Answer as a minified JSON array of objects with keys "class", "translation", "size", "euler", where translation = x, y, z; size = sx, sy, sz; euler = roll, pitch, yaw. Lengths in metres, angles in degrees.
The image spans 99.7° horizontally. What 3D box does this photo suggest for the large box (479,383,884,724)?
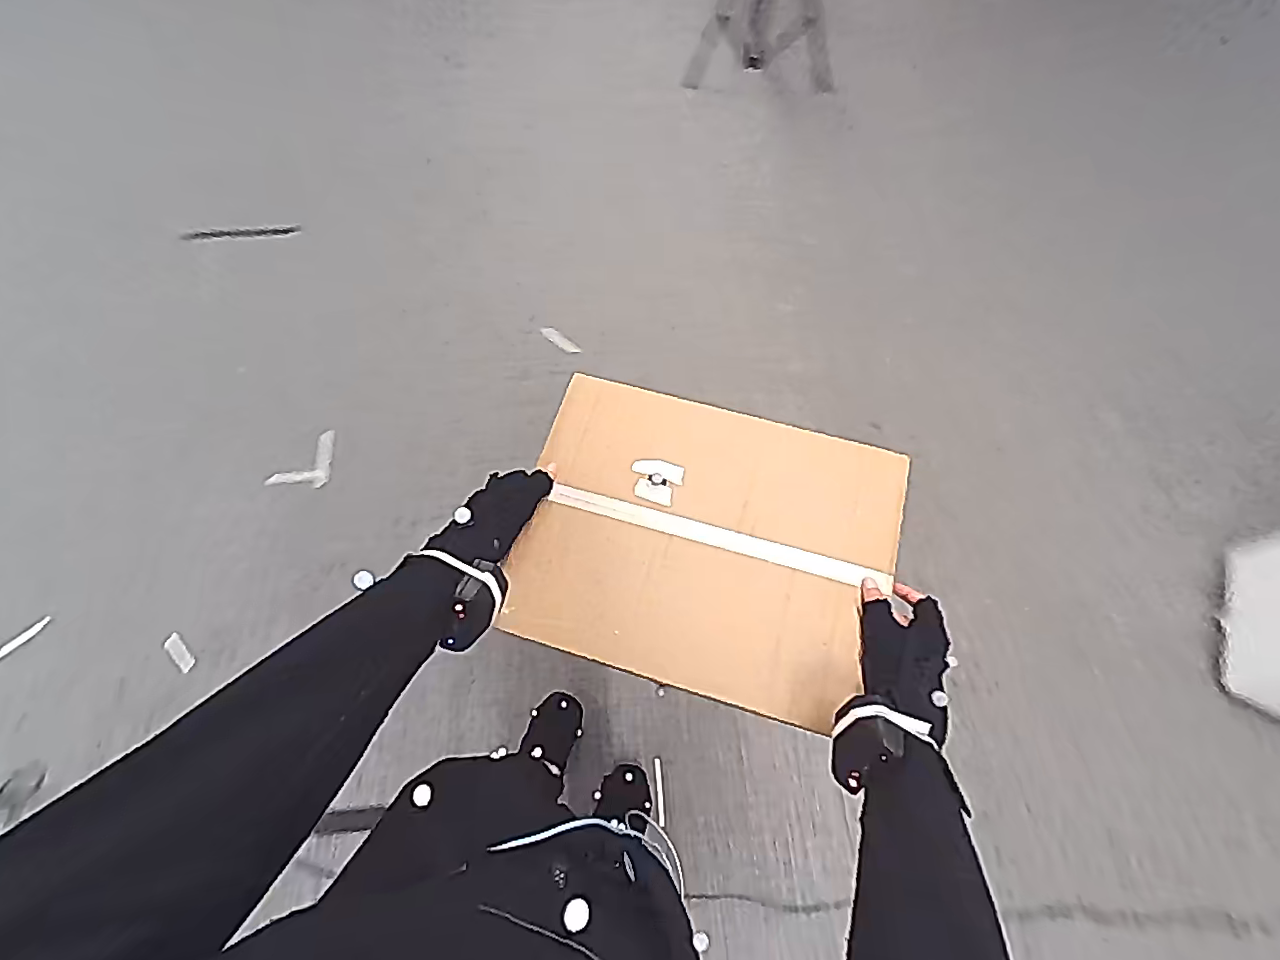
[{"class":"large box","translation":[0.063,0.109,0.741],"size":[0.408,0.320,0.320],"euler":[14,70,8]}]
